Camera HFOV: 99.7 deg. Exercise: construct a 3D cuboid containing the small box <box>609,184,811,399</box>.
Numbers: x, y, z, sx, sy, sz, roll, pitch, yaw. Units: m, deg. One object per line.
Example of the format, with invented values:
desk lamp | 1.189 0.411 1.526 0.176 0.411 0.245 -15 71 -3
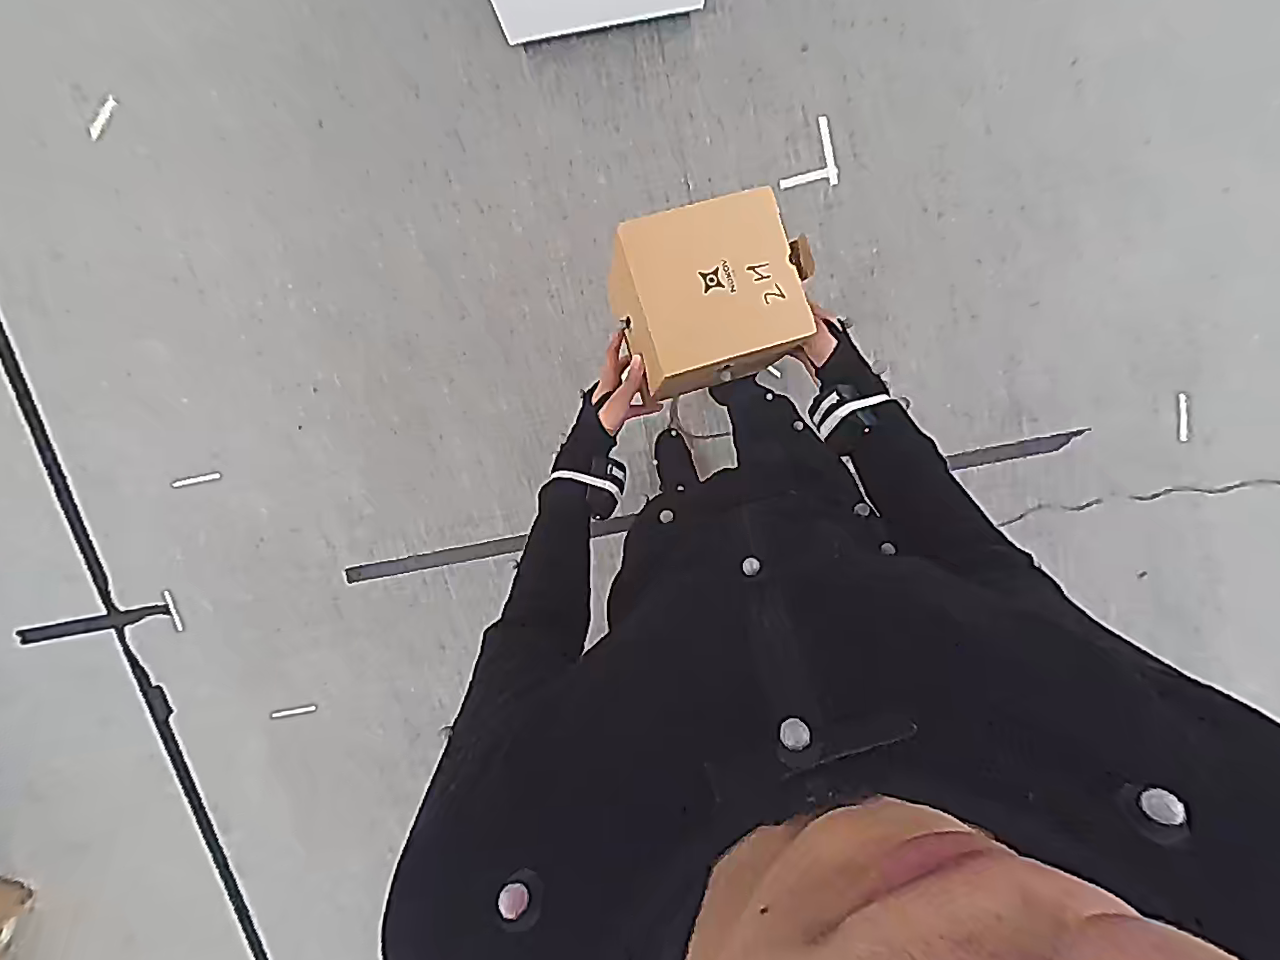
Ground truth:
small box | 0.067 -0.207 0.640 0.179 0.176 0.168 -18 90 -7
